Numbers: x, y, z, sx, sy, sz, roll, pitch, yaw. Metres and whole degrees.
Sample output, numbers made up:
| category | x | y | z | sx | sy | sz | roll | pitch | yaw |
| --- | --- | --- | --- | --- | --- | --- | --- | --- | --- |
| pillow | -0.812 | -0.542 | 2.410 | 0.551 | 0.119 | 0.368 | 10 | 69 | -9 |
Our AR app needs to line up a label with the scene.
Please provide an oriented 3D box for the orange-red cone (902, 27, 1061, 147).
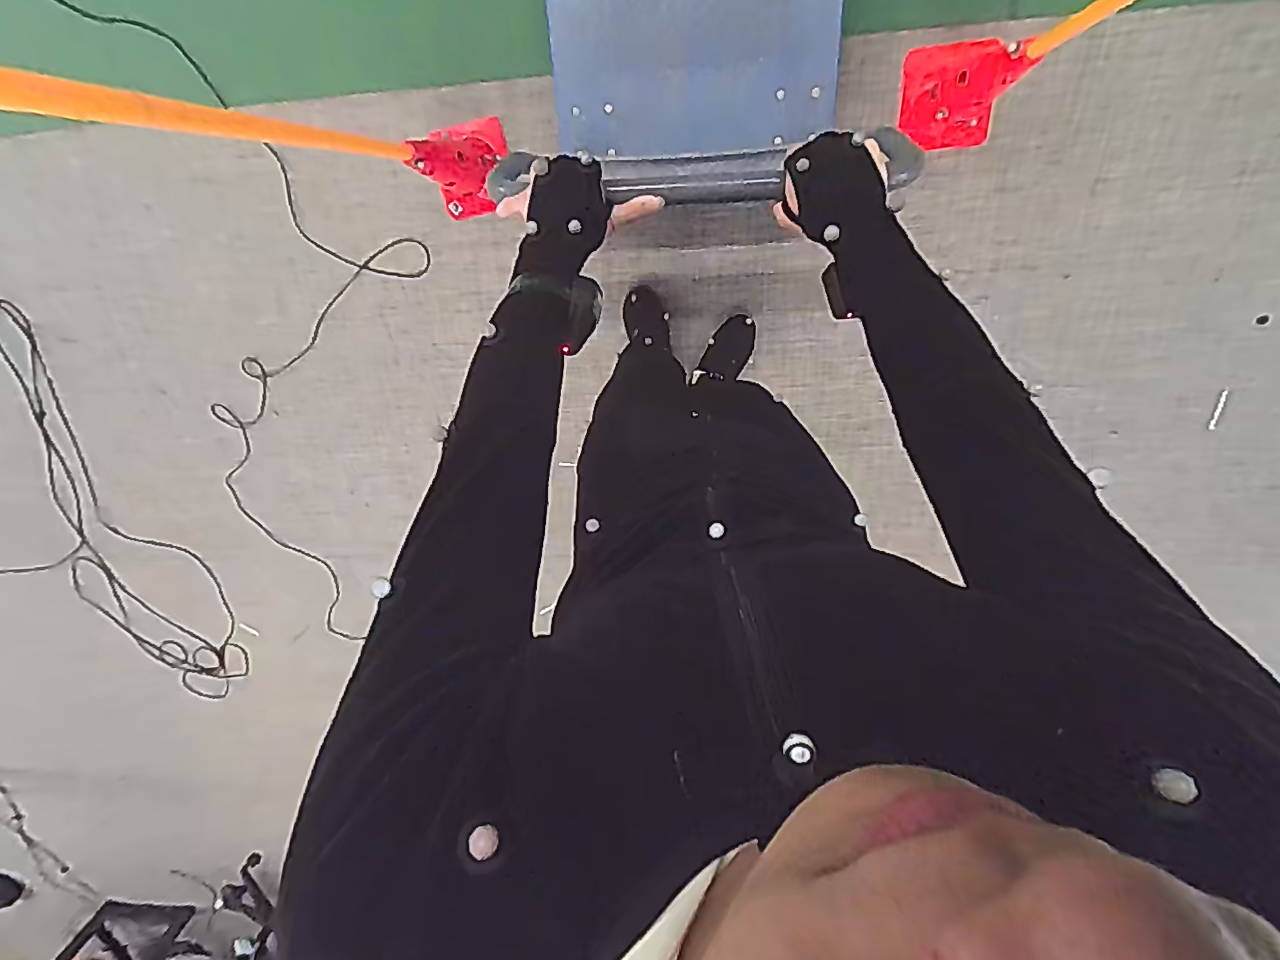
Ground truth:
| category | x | y | z | sx | sy | sz | roll | pitch | yaw |
| --- | --- | --- | --- | --- | --- | --- | --- | --- | --- |
| orange-red cone | 0.669 | -0.778 | 1.026 | 0.198 | 0.360 | 0.199 | -1 | 113 | 6 |
